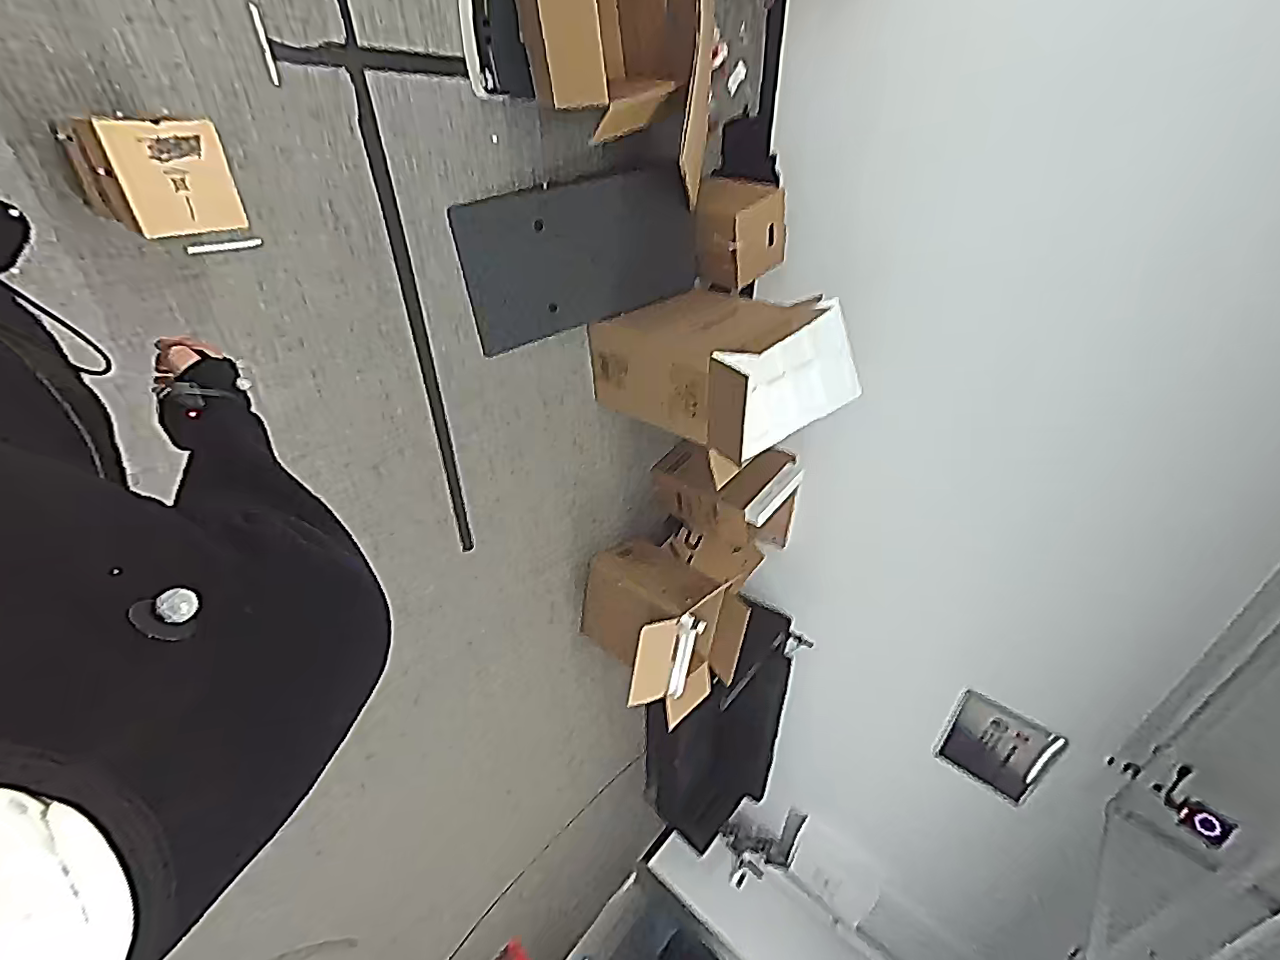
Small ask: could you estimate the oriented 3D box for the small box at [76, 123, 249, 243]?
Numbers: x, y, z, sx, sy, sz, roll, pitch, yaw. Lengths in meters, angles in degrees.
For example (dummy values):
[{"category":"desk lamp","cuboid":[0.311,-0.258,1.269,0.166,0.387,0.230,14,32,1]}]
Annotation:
[{"category":"small box","cuboid":[-0.858,-0.540,0.976,0.168,0.176,0.179,-32,136,-39]}]
